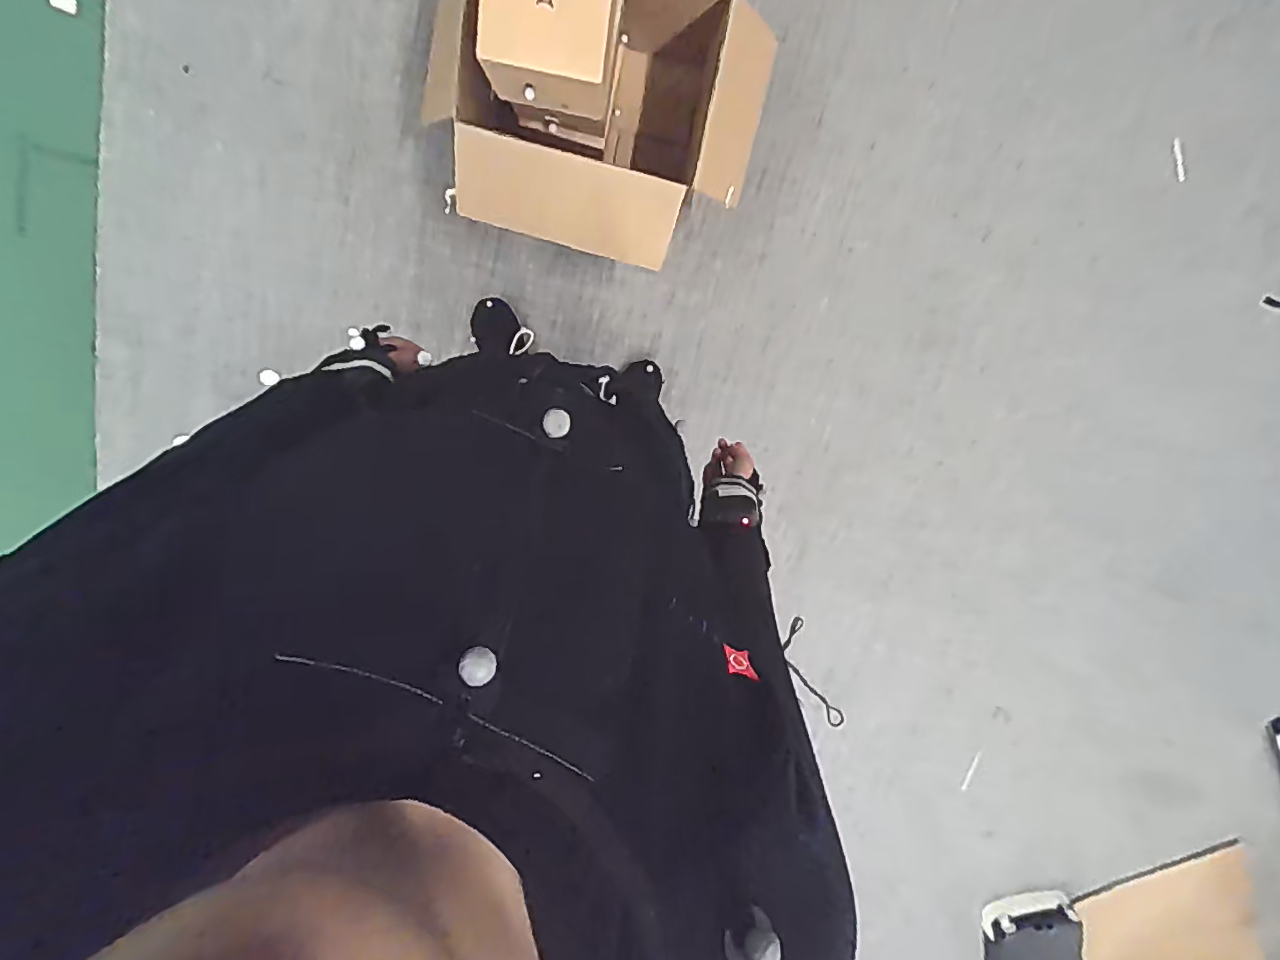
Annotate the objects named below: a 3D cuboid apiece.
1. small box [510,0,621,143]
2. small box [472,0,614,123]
[{"bbox_3d":[-0.131,-0.697,0.902,0.168,0.176,0.179,9,108,-7],"label":"small box"},{"bbox_3d":[-0.127,-0.630,0.754,0.168,0.176,0.179,7,107,-6],"label":"small box"}]
